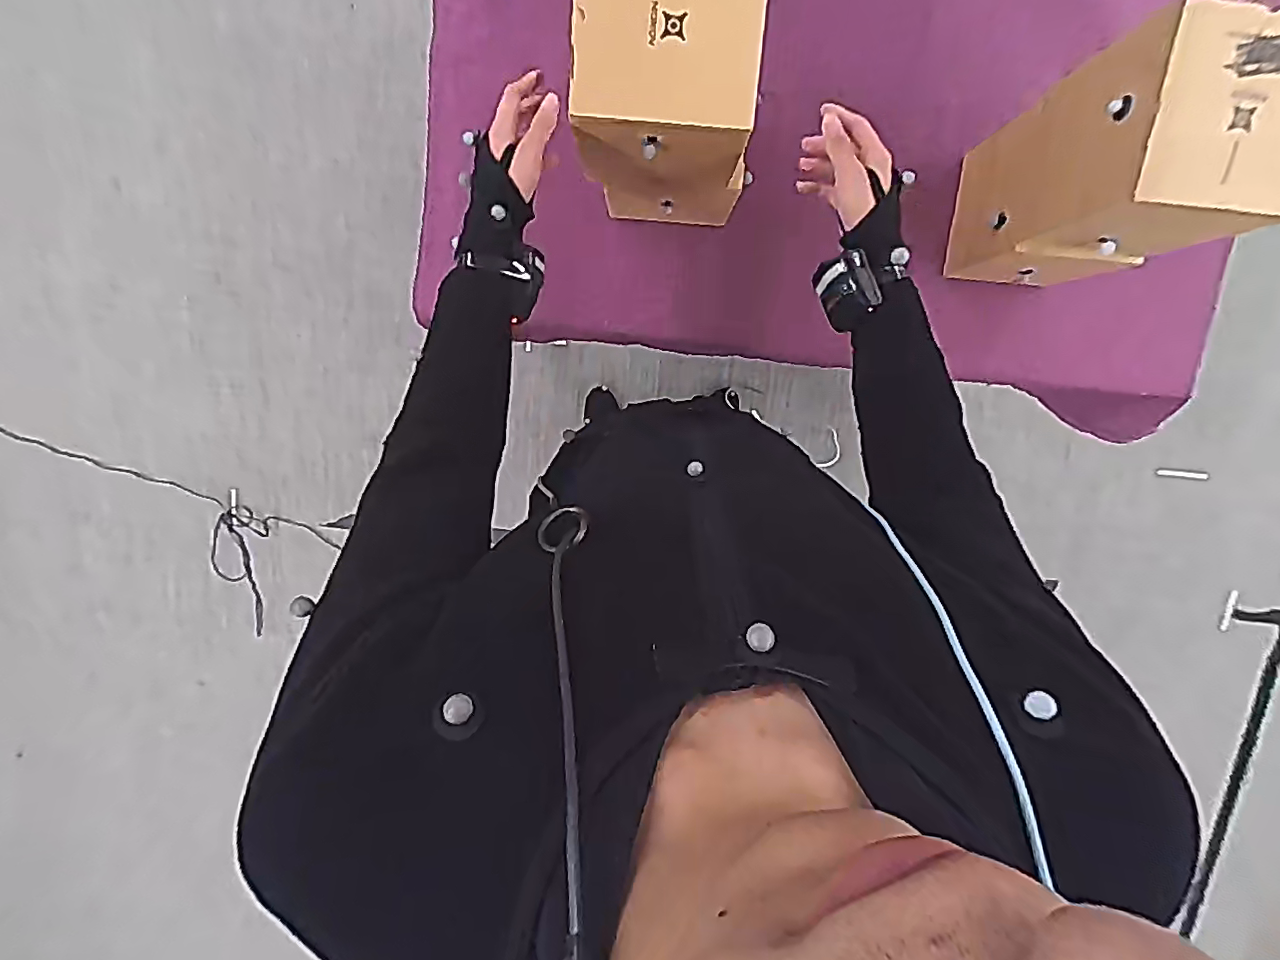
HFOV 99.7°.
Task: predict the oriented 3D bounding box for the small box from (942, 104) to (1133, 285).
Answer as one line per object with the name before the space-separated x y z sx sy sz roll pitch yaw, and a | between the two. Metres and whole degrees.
small box | 0.552 -0.378 0.749 0.168 0.176 0.179 6 100 -1

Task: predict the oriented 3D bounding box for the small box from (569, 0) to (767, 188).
small box | 0.027 -0.428 0.573 0.179 0.176 0.168 5 101 0

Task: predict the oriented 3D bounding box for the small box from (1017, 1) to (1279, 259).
small box | 0.554 -0.357 0.586 0.168 0.176 0.179 6 101 -1
